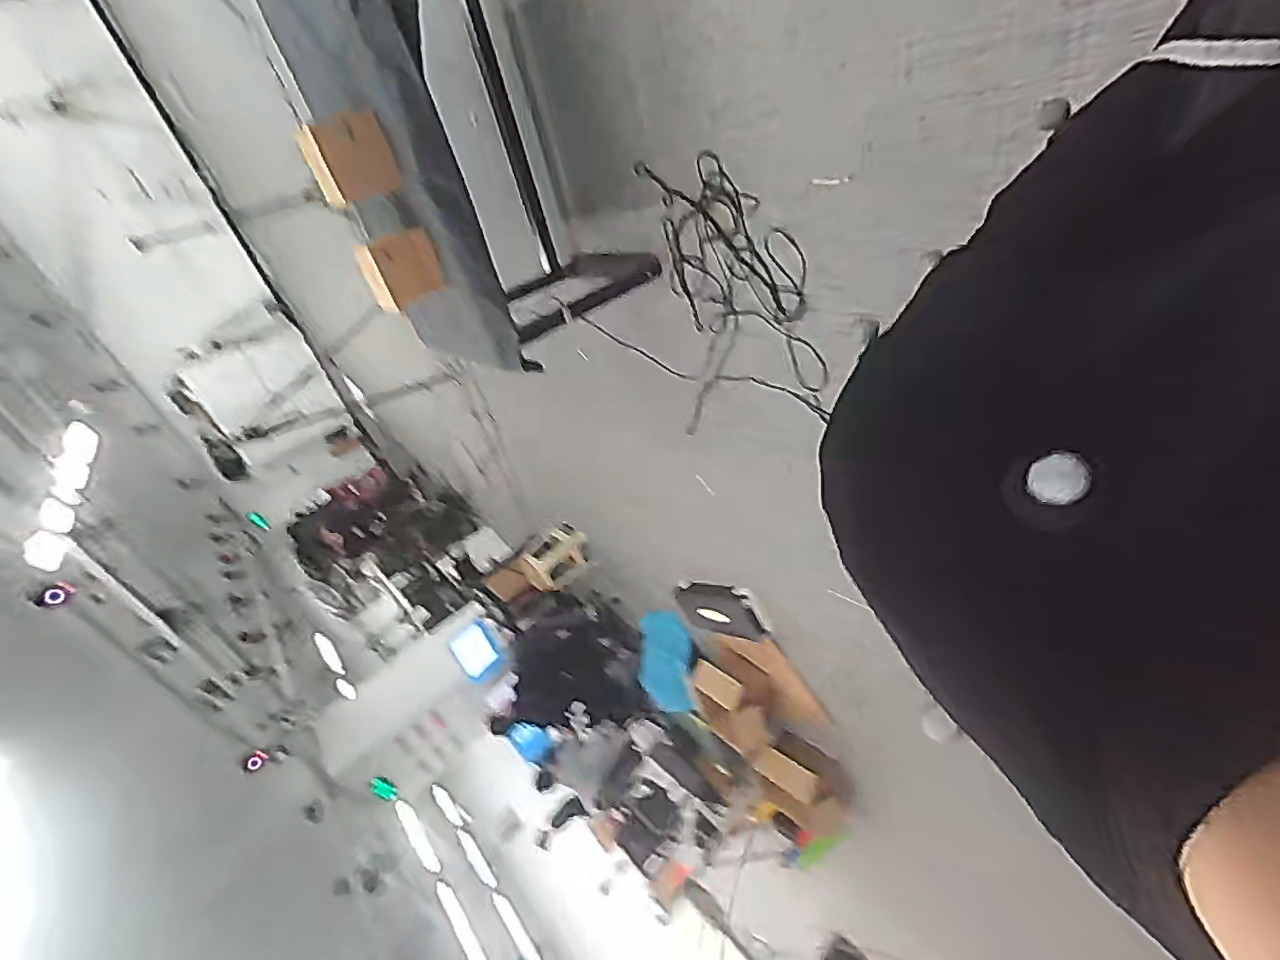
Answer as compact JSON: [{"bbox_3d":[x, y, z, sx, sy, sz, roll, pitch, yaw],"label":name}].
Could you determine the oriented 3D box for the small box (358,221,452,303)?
[{"bbox_3d":[-0.671,-0.630,1.560,0.168,0.176,0.179,25,140,46],"label":"small box"}]

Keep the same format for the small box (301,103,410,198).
[{"bbox_3d":[-0.732,-0.854,1.402,0.168,0.176,0.179,26,143,46],"label":"small box"}]
